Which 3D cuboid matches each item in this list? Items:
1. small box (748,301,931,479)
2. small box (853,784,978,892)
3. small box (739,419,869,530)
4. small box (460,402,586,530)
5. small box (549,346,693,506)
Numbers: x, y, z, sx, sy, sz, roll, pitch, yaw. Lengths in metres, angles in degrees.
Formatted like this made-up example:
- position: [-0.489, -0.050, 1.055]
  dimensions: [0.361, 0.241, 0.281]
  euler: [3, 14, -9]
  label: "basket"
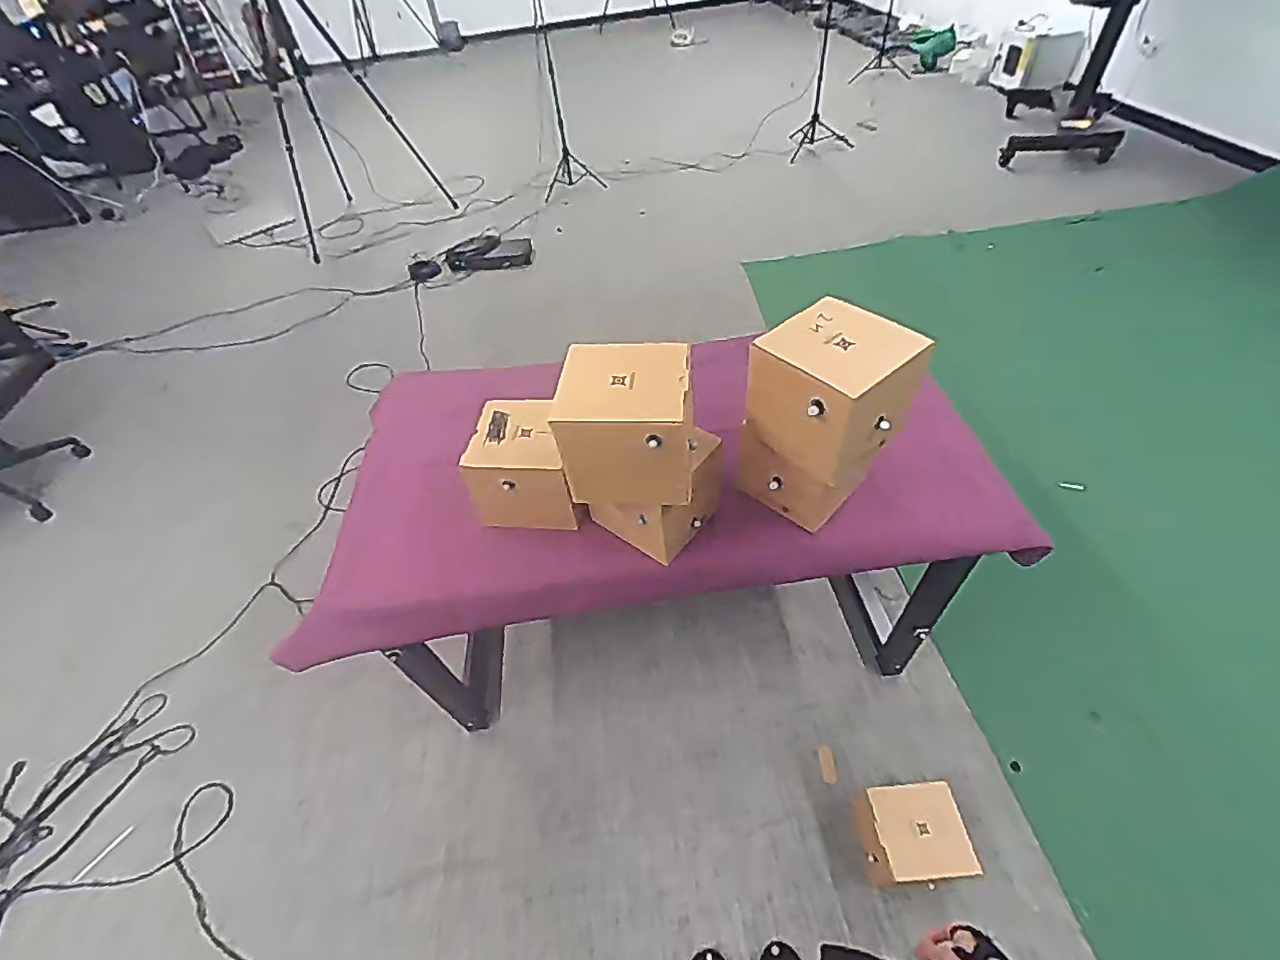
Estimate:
- position: [0.277, -0.125, 0.788]
  dimensions: [0.168, 0.176, 0.179]
  euler: [-33, 51, -21]
  label: "small box"
- position: [0.574, 0.771, 1.161]
  dimensions: [0.179, 0.176, 0.168]
  euler: [-6, 49, 1]
  label: "small box"
- position: [0.289, -0.045, 0.937]
  dimensions: [0.168, 0.176, 0.179]
  euler: [34, 61, 31]
  label: "small box"
- position: [-0.193, -0.024, 0.976]
  dimensions: [0.179, 0.176, 0.168]
  euler: [2, 49, 7]
  label: "small box"
- position: [-0.015, -0.076, 0.783]
  dimensions: [0.179, 0.176, 0.168]
  euler: [1, 49, 7]
  label: "small box"
